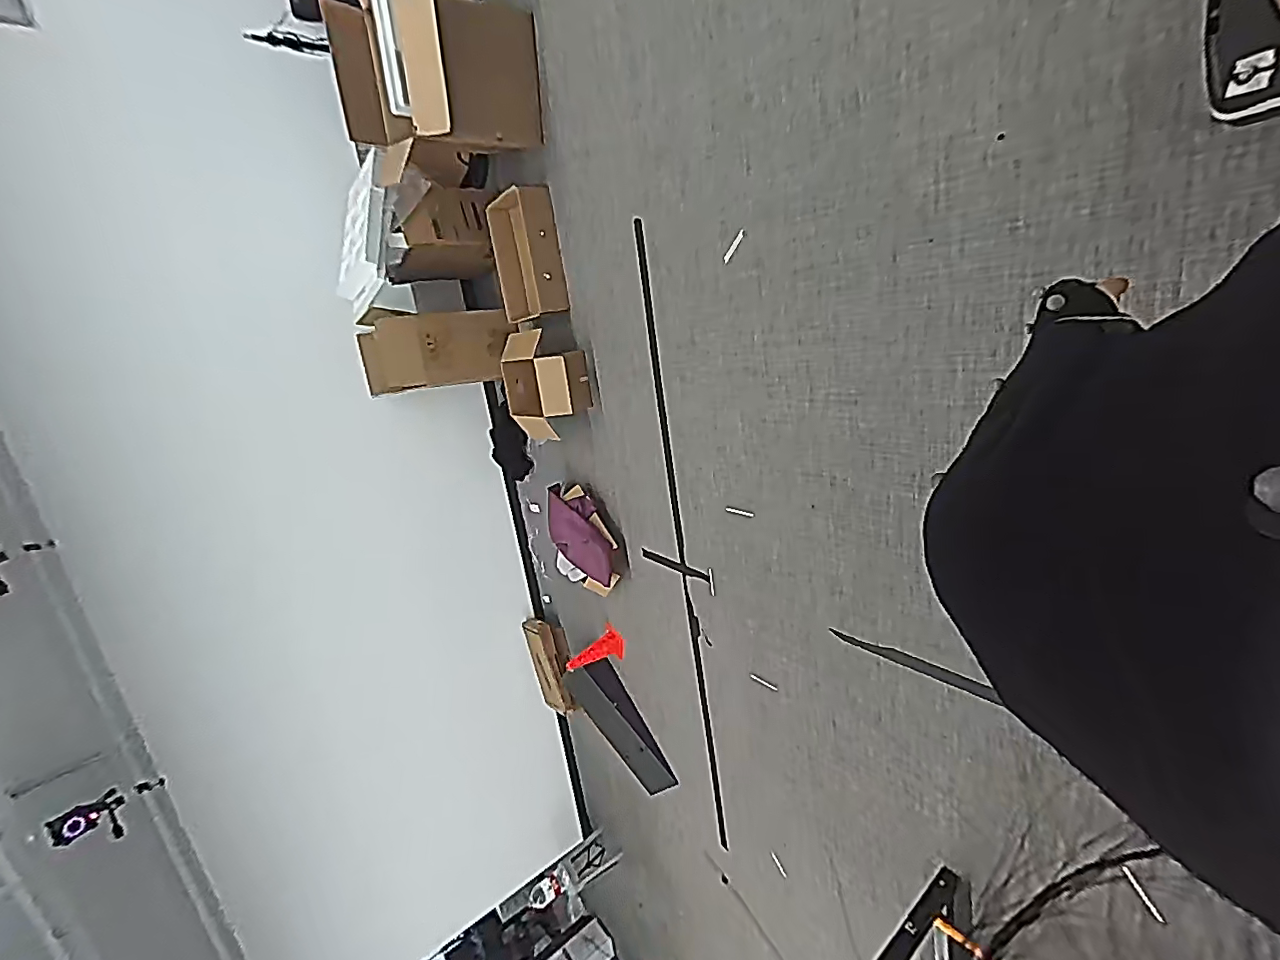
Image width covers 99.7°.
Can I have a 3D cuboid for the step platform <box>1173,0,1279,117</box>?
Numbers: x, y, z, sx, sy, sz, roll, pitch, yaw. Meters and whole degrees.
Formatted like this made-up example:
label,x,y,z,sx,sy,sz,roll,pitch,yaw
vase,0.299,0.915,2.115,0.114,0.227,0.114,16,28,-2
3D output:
label,x,y,z,sx,sy,sz,roll,pitch,yaw
step platform,0.984,-0.626,0.496,0.684,0.204,0.286,9,113,53
